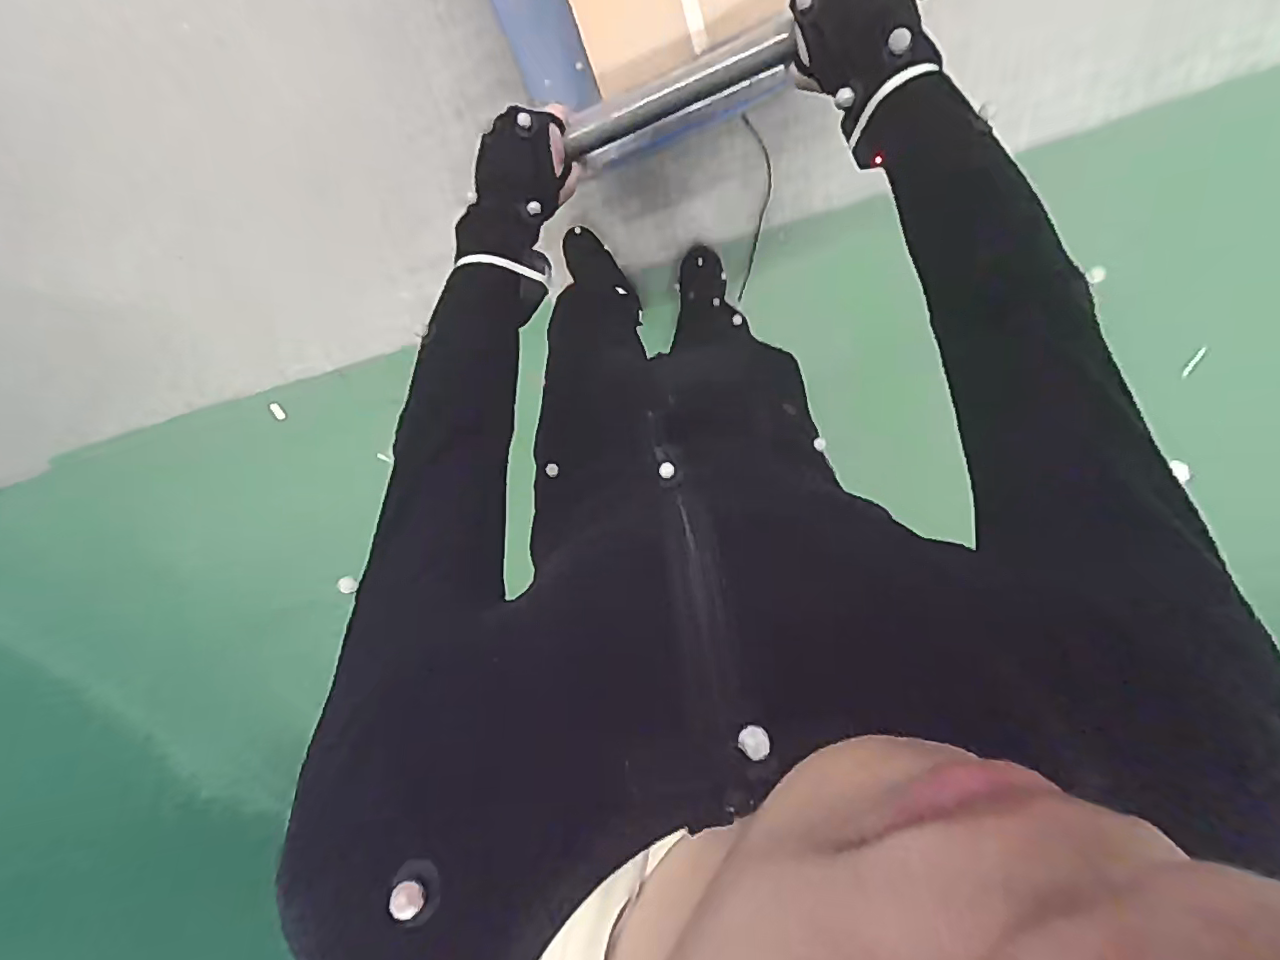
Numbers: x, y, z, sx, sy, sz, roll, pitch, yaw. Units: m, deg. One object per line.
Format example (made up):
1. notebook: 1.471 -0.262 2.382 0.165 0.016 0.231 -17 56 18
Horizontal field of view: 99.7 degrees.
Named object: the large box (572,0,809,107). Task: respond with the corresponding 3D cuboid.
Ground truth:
1. large box: 0.033 -0.851 0.808 0.320 0.320 0.408 -17 120 13
